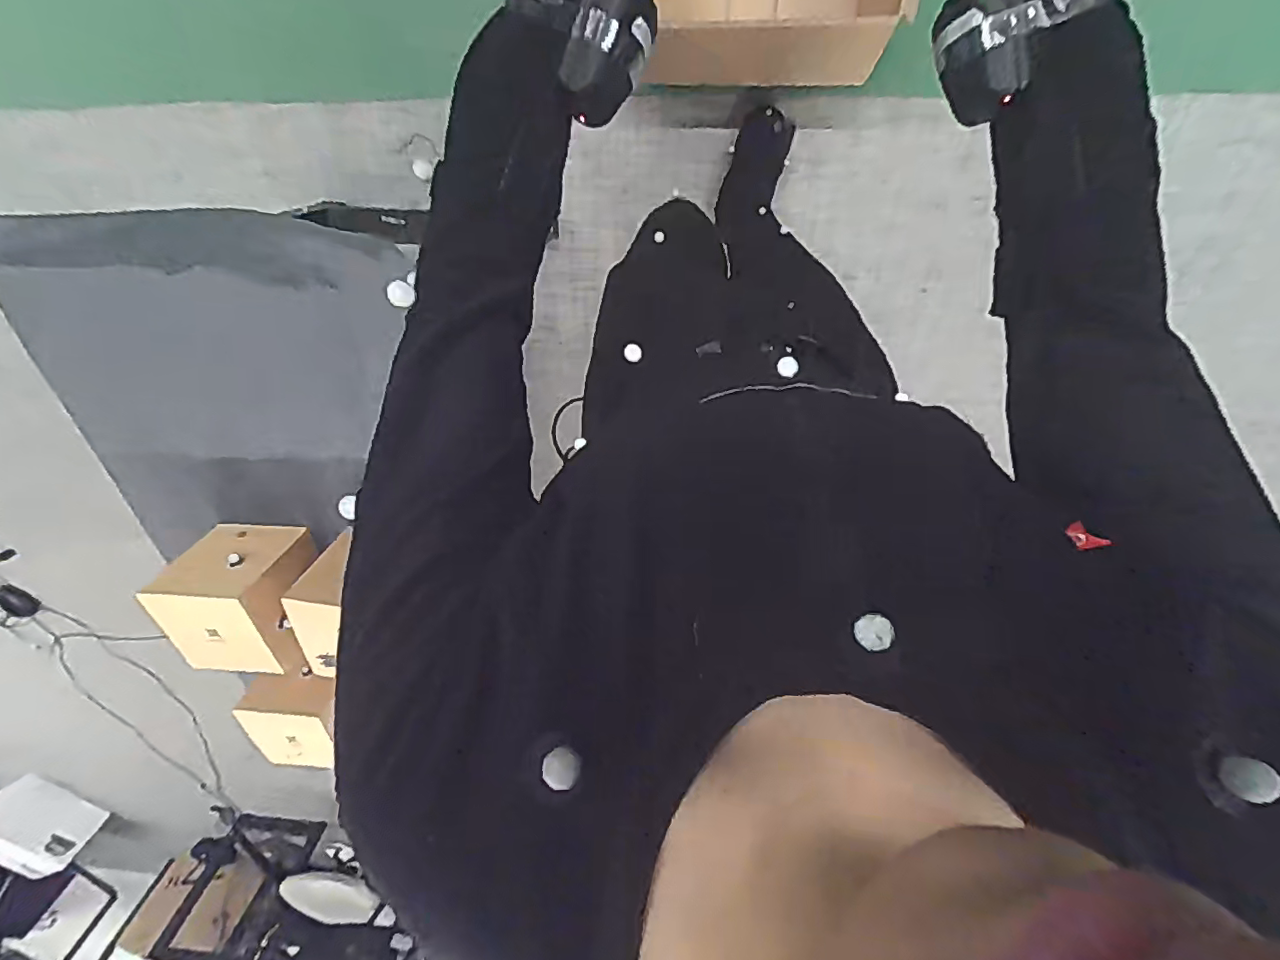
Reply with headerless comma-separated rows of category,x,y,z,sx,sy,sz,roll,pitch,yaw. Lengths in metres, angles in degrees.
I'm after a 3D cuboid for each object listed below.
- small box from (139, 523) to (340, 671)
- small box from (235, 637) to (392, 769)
small box,-0.634,0.186,0.885,0.168,0.176,0.179,1,125,6
small box,-0.614,0.423,1.043,0.168,0.176,0.179,3,125,6
